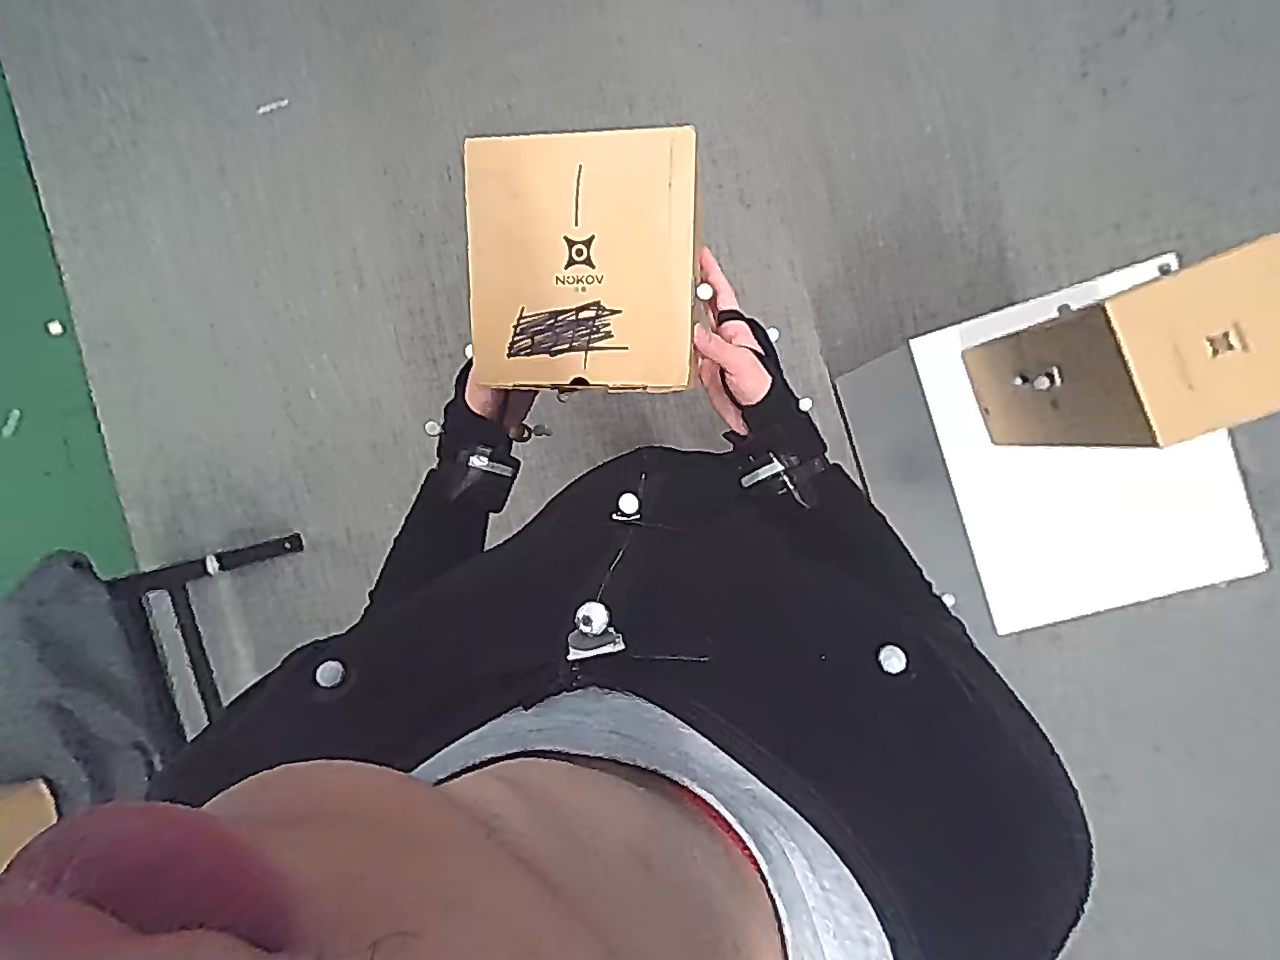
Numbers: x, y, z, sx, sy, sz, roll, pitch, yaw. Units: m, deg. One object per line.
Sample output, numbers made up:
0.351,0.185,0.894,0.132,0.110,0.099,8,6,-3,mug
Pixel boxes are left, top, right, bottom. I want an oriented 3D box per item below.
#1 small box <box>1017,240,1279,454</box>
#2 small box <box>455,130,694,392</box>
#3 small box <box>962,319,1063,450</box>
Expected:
0.585,-0.138,0.615,0.179,0.176,0.168,-20,91,9,small box
-0.041,-0.169,0.466,0.168,0.176,0.179,3,100,8,small box
0.608,-0.149,0.776,0.179,0.176,0.168,-19,92,8,small box
